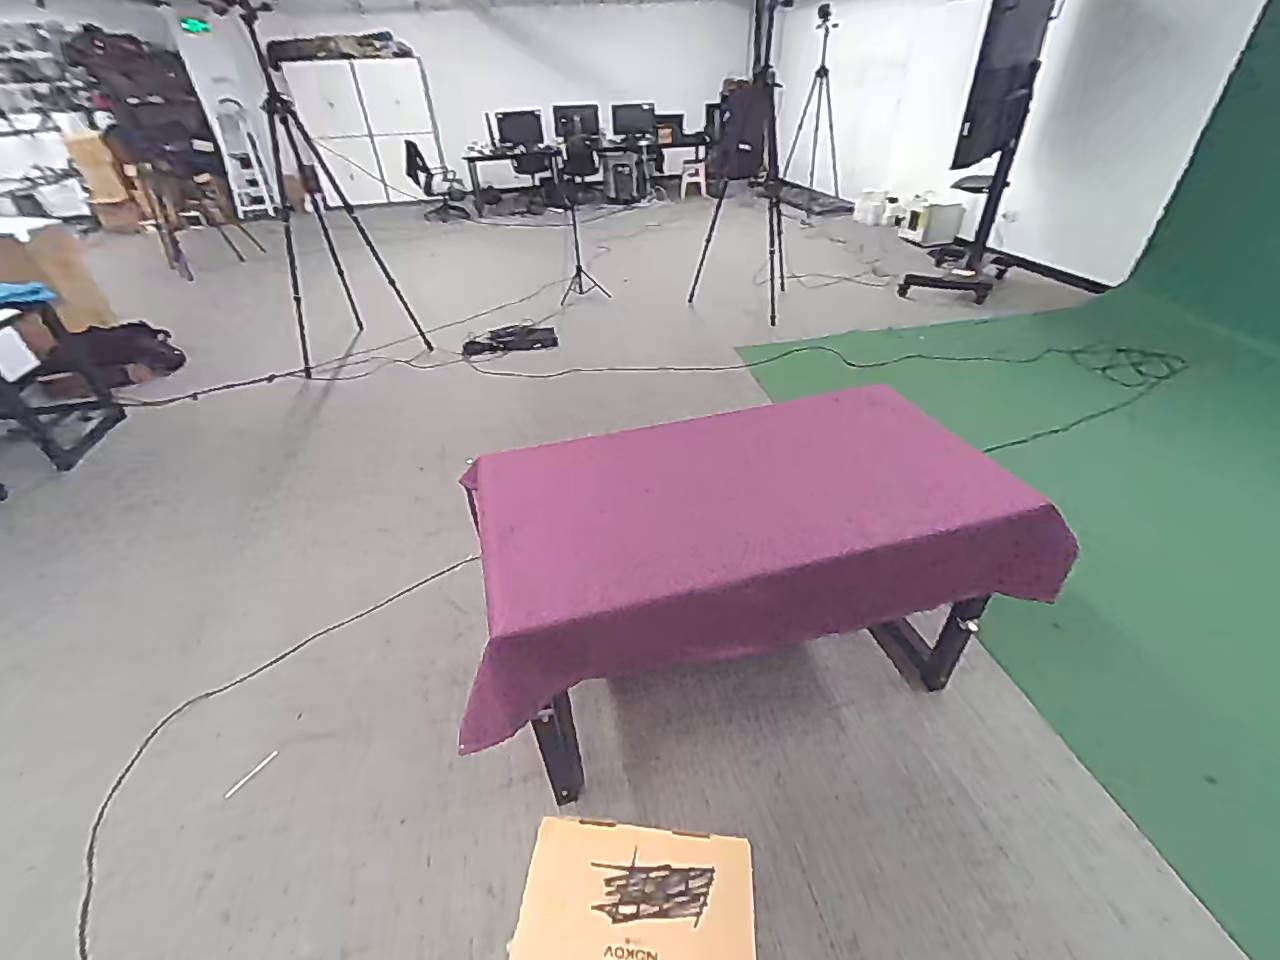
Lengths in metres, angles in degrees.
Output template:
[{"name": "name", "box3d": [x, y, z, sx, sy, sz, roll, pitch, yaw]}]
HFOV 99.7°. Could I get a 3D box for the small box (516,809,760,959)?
[{"name": "small box", "box3d": [-0.001, 0.384, 0.408, 0.168, 0.176, 0.179, 2, 38, 6]}]
